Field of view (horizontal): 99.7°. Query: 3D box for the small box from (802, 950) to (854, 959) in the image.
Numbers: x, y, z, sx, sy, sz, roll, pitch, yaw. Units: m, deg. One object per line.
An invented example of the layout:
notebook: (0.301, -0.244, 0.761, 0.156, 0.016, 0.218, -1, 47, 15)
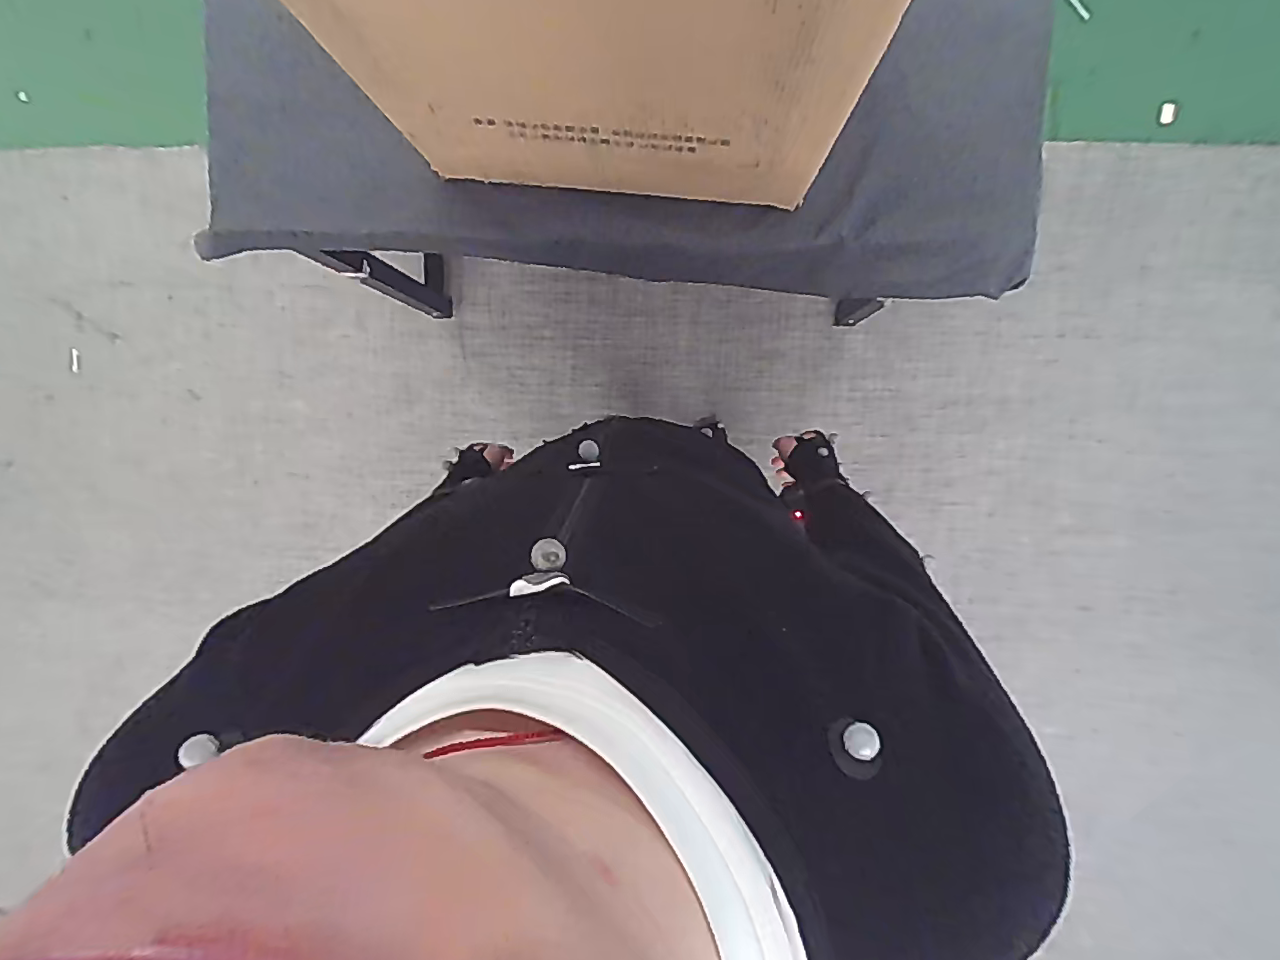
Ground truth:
small box: (0.591, 1.579, 1.640, 0.168, 0.176, 0.179, 0, 97, 0)
